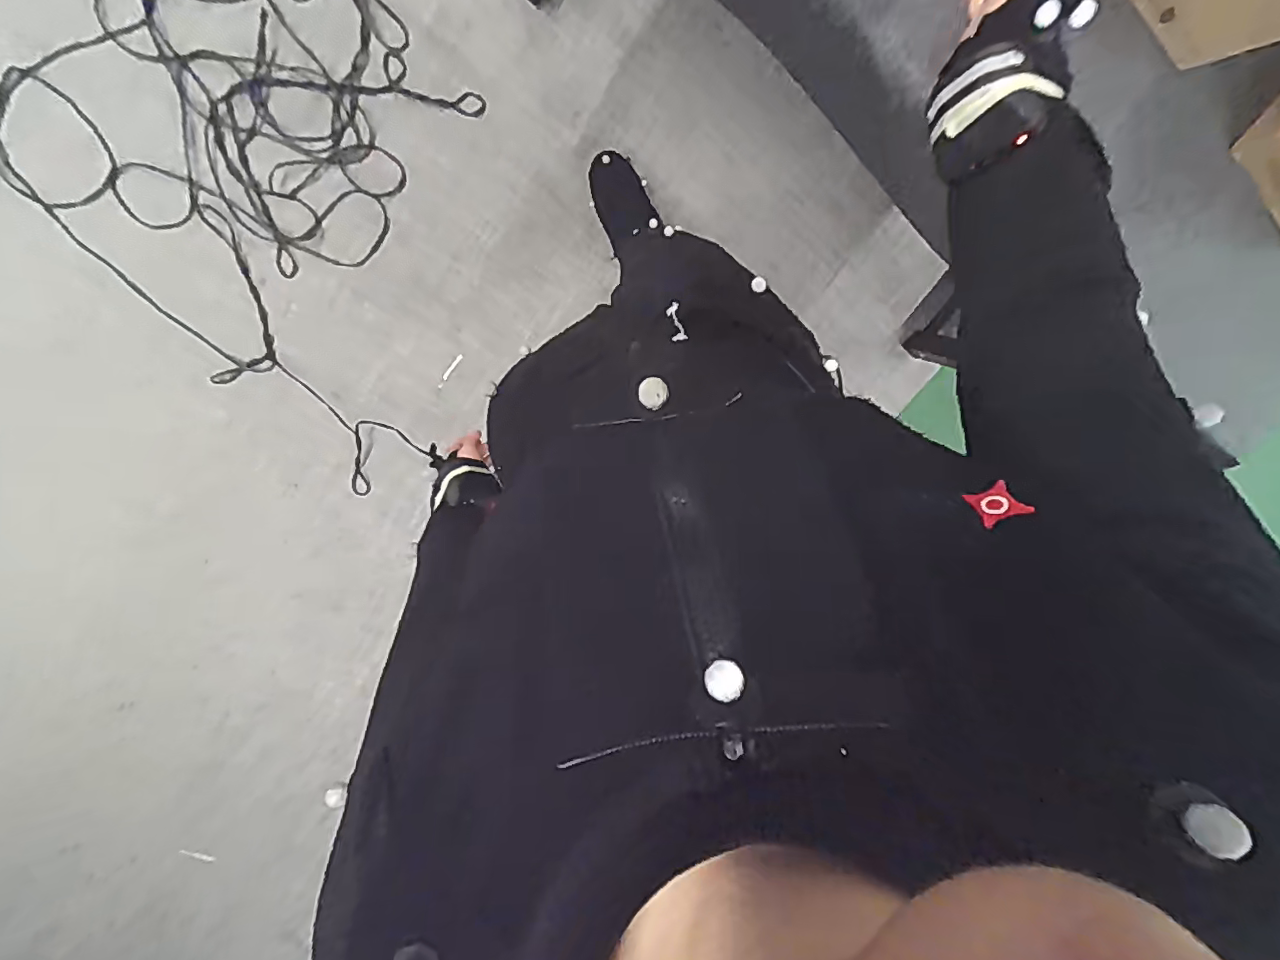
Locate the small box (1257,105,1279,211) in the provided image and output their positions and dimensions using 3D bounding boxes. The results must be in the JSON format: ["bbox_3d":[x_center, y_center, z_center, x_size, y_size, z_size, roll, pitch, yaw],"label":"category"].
[{"bbox_3d":[0.729,-0.330,0.483,0.168,0.176,0.179,31,104,-19],"label":"small box"}]
